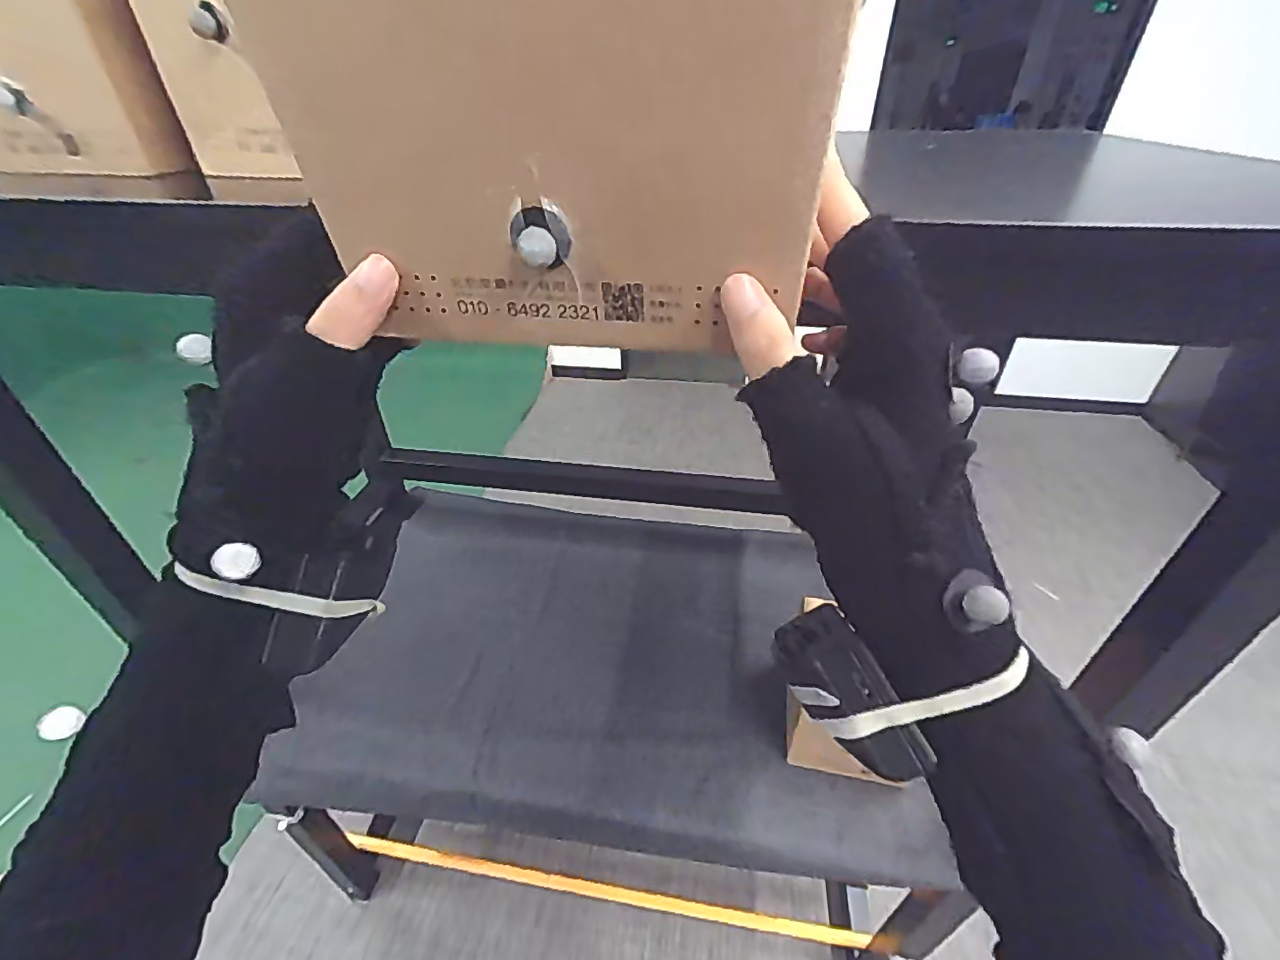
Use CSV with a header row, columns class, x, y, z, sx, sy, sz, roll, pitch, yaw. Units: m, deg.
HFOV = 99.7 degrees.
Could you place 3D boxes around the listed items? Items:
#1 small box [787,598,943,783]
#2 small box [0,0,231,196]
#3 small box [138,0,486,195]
class,x,y,z,sx,sy,sz,roll,pitch,yaw
small box,0.310,0.303,0.783,0.168,0.176,0.179,7,36,10
small box,-0.435,-0.348,0.452,0.168,0.176,0.179,6,38,9
small box,-0.240,-0.332,0.430,0.168,0.176,0.179,6,36,10
